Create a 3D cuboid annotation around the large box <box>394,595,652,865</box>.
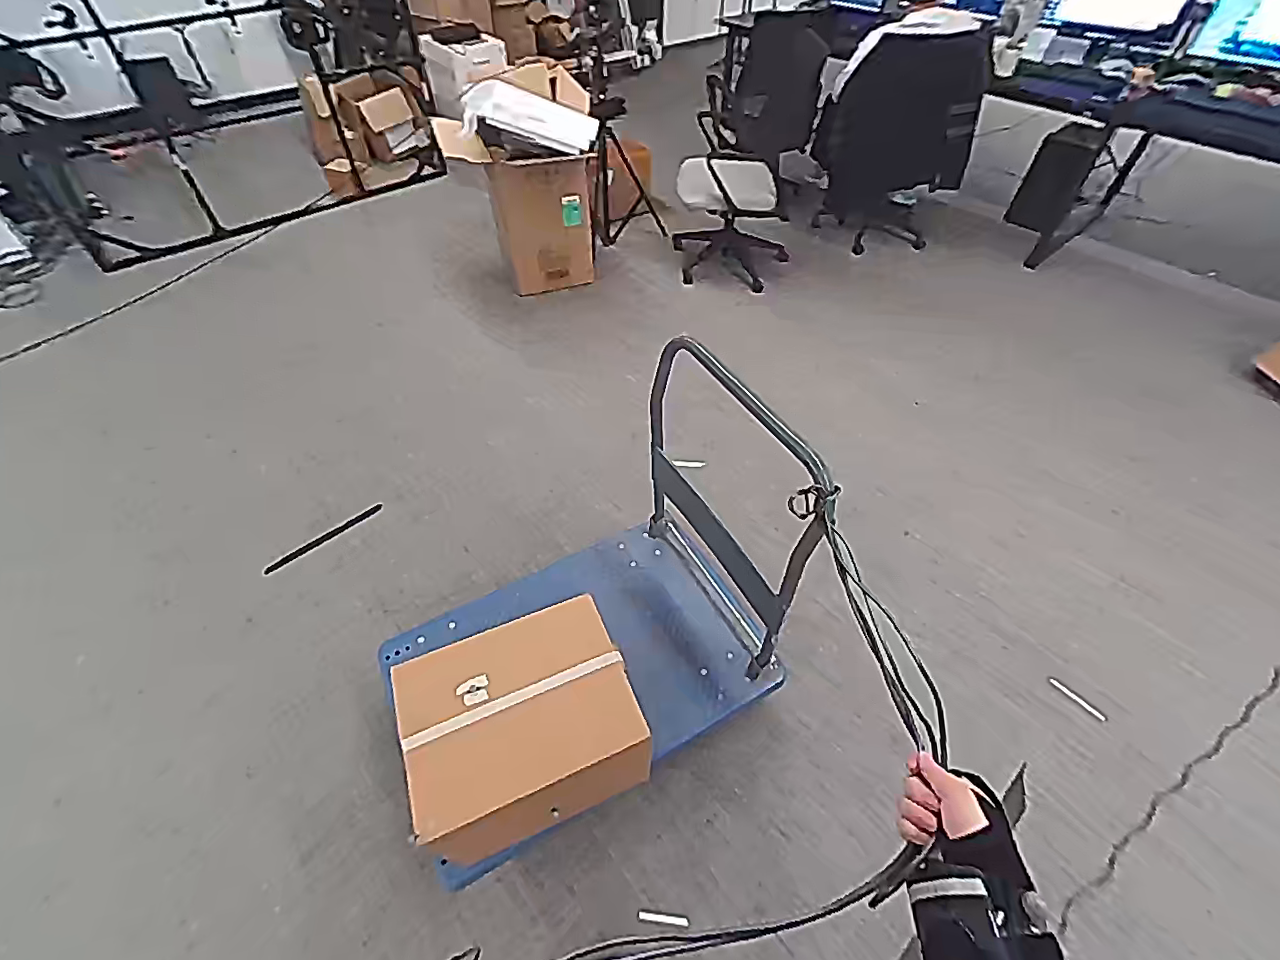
[{"bbox_3d":[-0.220,0.500,1.089,0.408,0.320,0.320,-19,51,-15],"label":"large box"}]
